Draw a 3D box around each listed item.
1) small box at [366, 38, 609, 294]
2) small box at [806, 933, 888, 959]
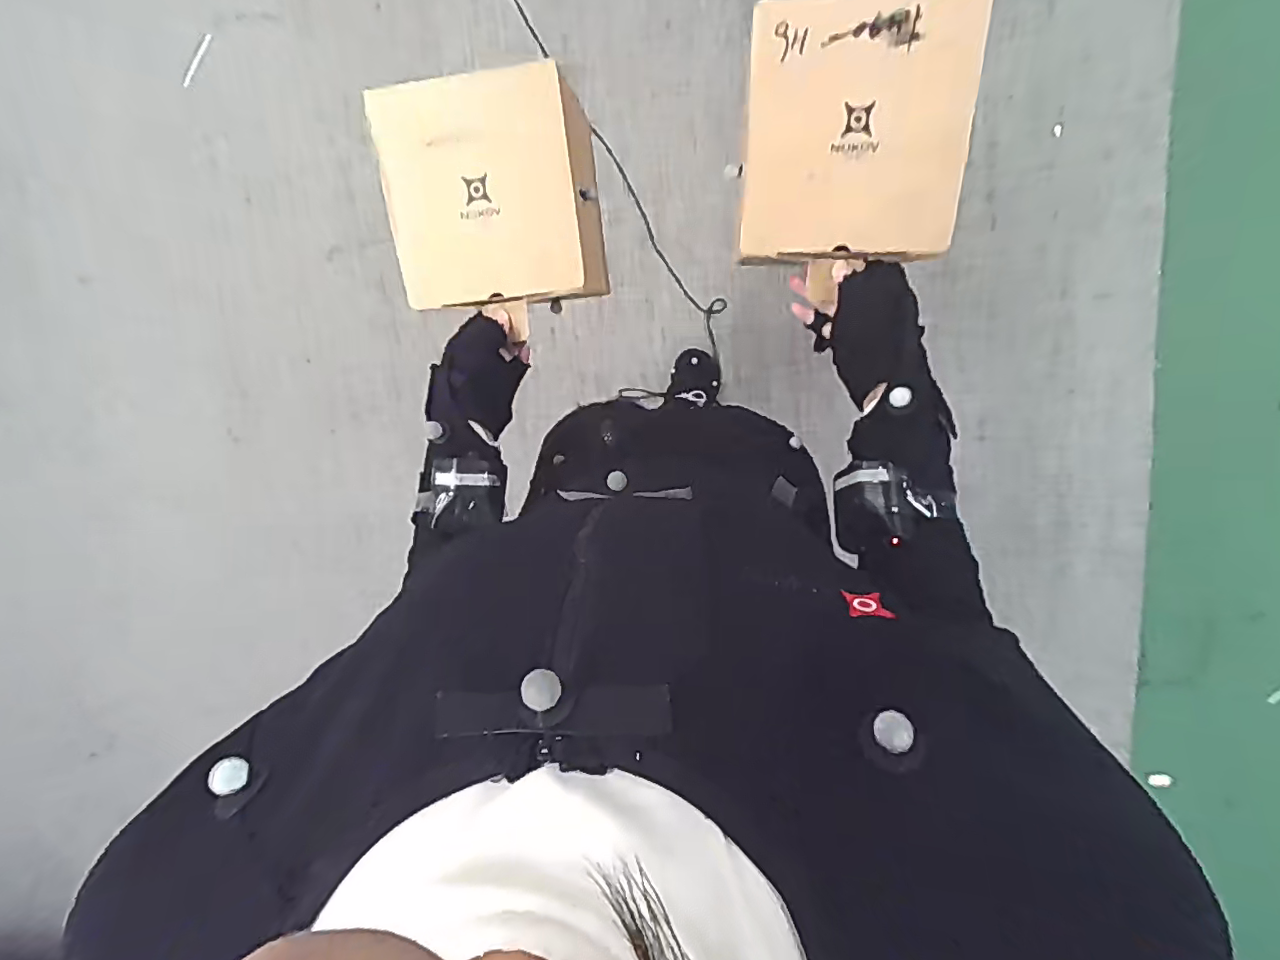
[{"bbox_3d":[-0.128,-0.283,0.531,0.168,0.176,0.179,-5,107,5],"label":"small box"},{"bbox_3d":[0.466,1.157,1.197,0.179,0.176,0.168,2,97,6],"label":"small box"}]
